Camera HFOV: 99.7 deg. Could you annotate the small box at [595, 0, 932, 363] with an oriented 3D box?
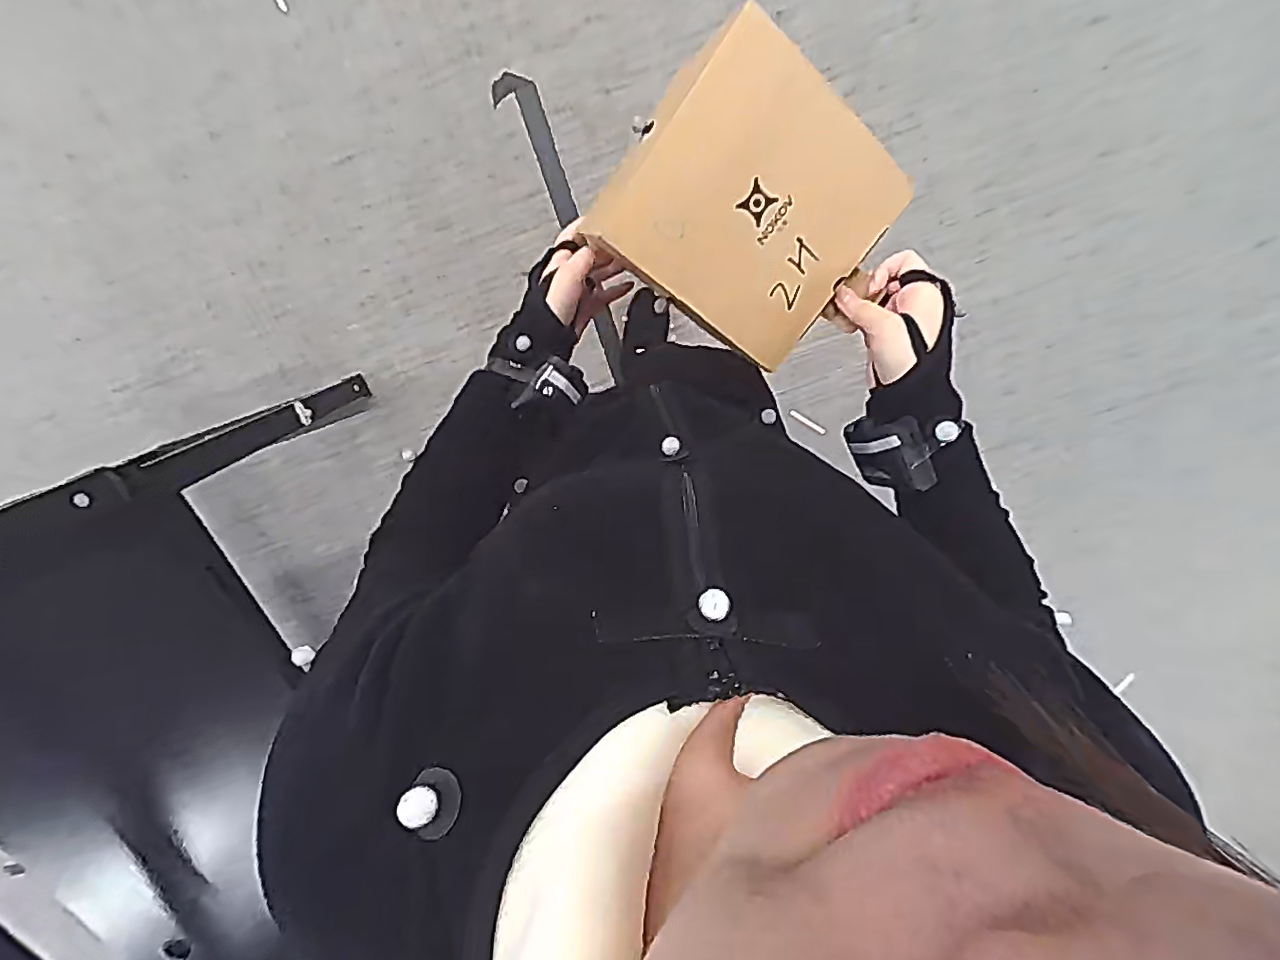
[{"bbox_3d":[0.079,-0.225,0.442,0.179,0.176,0.168,31,106,-23],"label":"small box"}]
